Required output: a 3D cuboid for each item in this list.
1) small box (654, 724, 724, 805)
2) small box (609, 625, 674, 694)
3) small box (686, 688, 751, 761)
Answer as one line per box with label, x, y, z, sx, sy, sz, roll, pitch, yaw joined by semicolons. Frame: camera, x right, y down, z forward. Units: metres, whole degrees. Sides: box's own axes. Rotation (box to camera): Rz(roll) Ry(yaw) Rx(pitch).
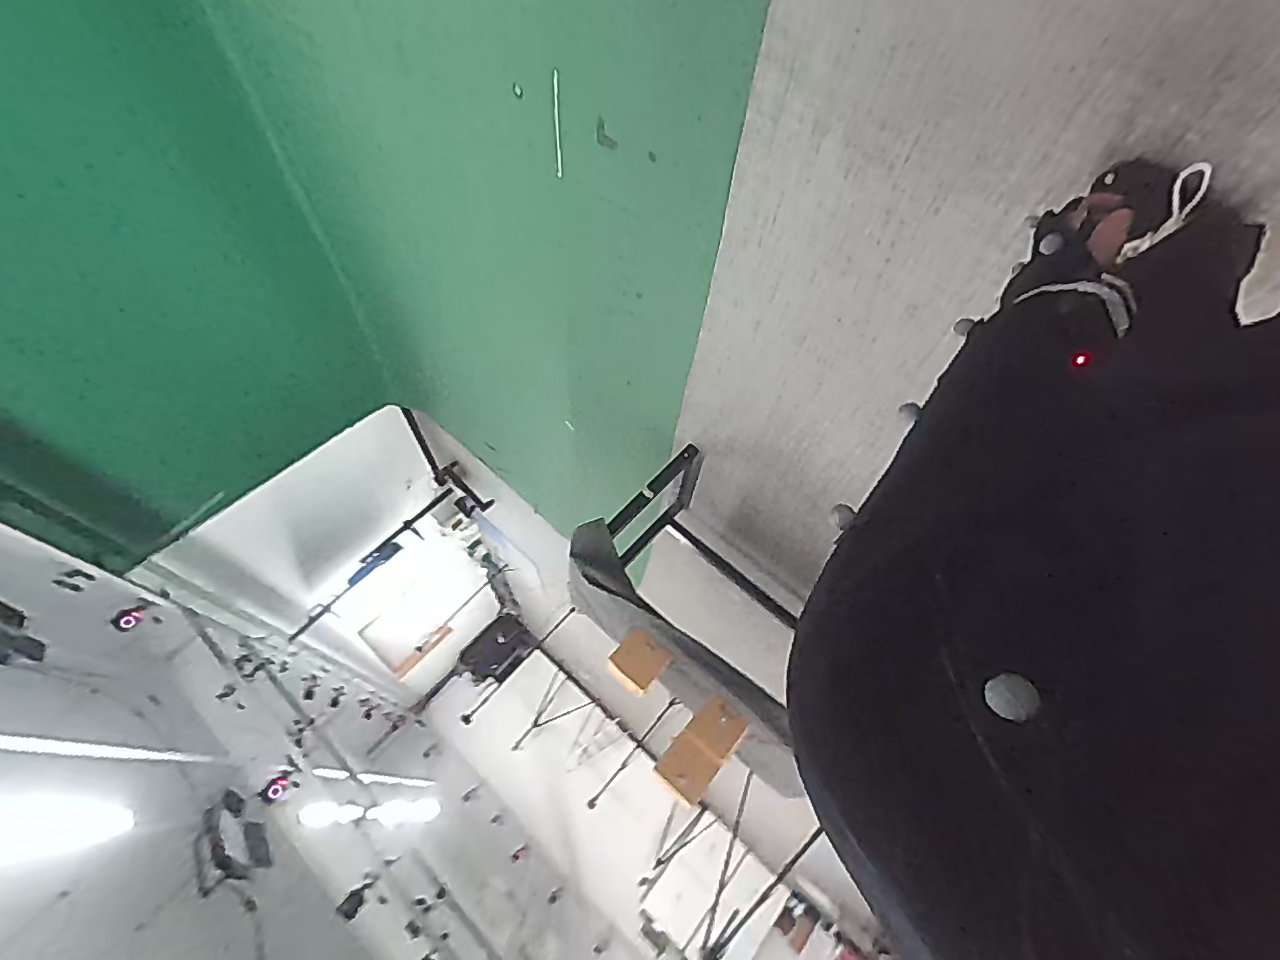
small box;0.169;0.981;1.864;0.179;0.176;0.168;36;152;22
small box;0.003;0.673;2.048;0.179;0.176;0.168;39;154;16
small box;0.278;0.873;1.918;0.168;0.176;0.179;33;152;25
